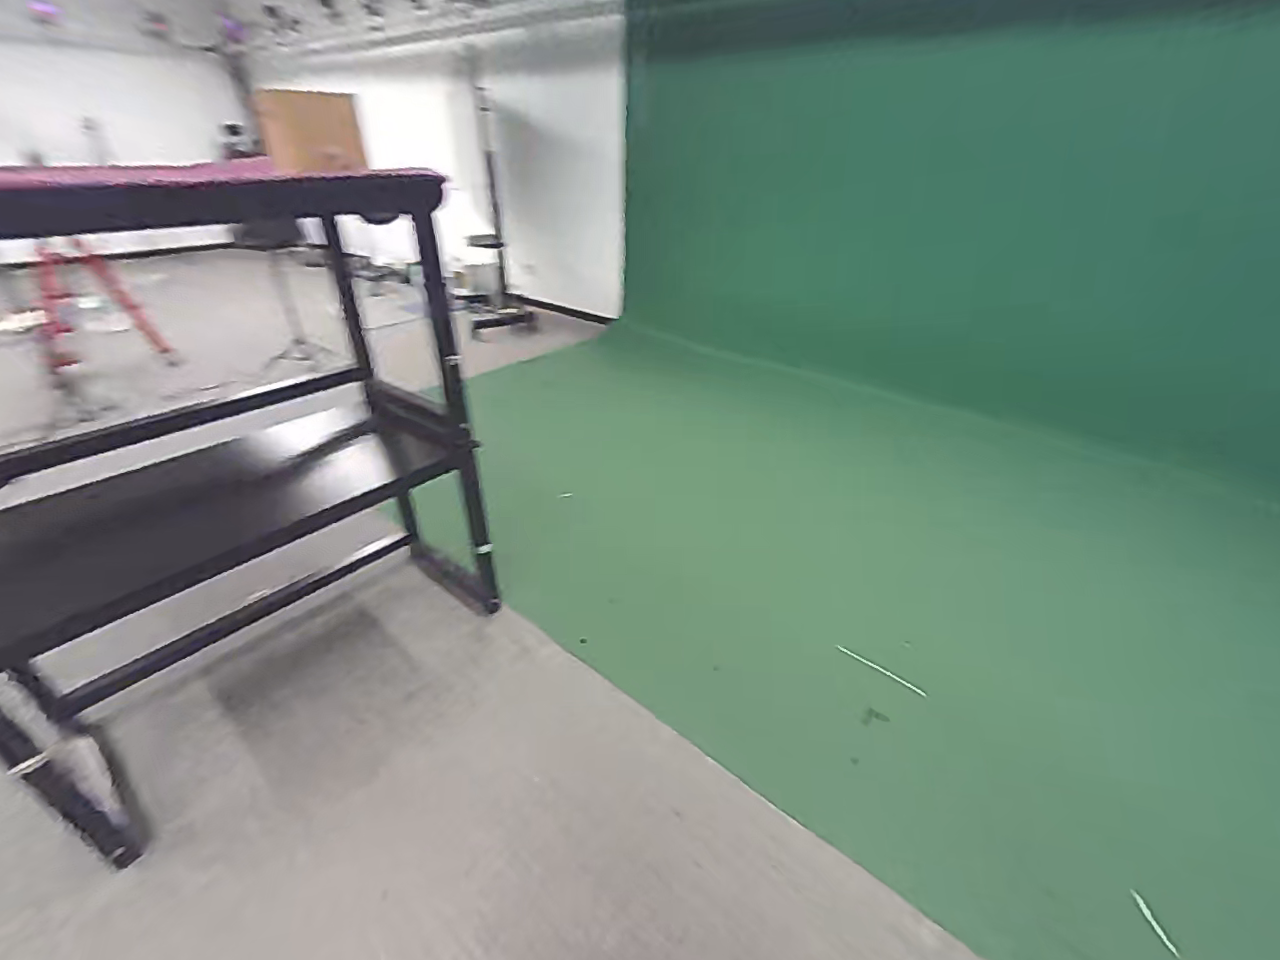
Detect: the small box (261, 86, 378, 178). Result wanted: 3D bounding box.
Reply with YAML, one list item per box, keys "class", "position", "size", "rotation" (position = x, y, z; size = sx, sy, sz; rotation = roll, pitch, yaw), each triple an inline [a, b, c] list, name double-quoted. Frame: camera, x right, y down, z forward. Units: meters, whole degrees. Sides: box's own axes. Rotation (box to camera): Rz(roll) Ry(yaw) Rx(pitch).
- class: "small box"
  position: [-0.741, -0.804, 1.259]
  size: [0.179, 0.176, 0.168]
  rotation: [29, 42, 36]
